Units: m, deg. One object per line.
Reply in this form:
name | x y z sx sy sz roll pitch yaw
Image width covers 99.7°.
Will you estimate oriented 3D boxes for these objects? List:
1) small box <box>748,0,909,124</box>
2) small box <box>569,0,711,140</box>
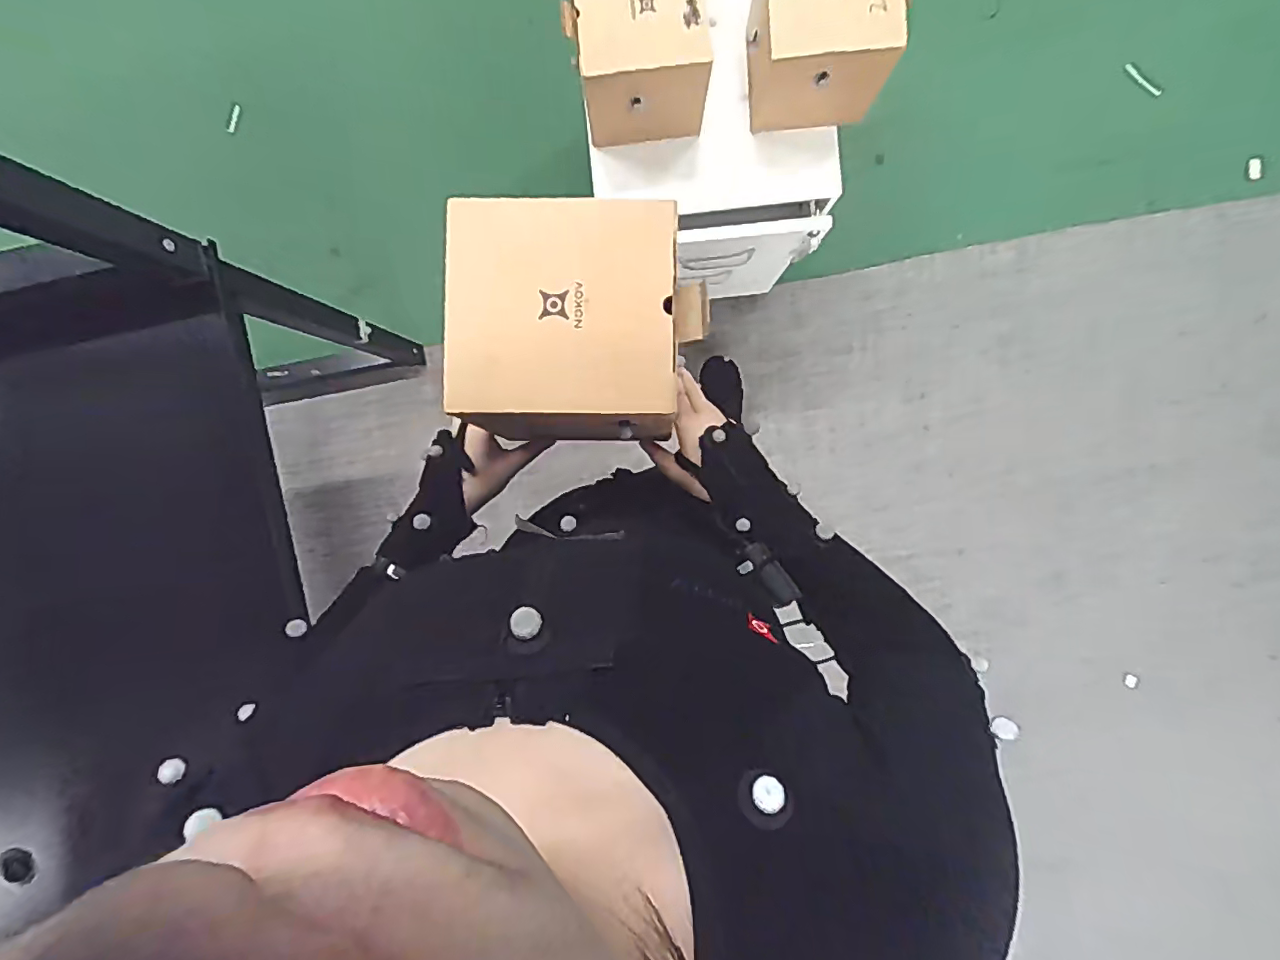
small box | 0.249 -0.629 0.754 0.179 0.176 0.168 -4 94 2
small box | -0.001 -0.613 0.763 0.179 0.176 0.168 -7 94 1
